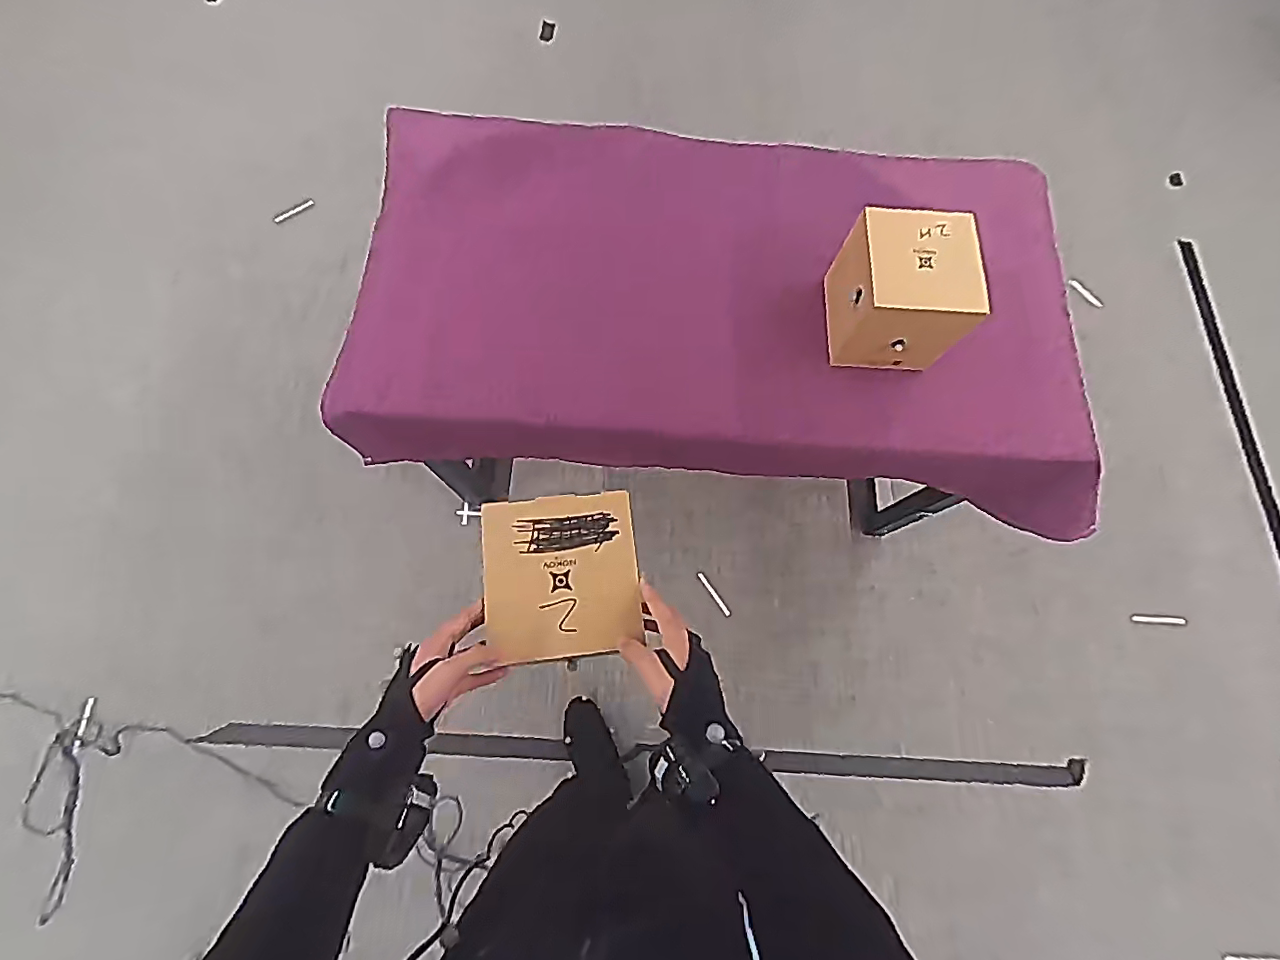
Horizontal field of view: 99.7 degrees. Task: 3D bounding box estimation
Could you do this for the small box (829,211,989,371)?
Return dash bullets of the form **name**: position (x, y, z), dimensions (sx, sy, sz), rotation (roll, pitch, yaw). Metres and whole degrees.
- **small box**: position (0.409, -0.288, 0.852), dimensions (0.168, 0.176, 0.179), rotation (4, 73, -1)
